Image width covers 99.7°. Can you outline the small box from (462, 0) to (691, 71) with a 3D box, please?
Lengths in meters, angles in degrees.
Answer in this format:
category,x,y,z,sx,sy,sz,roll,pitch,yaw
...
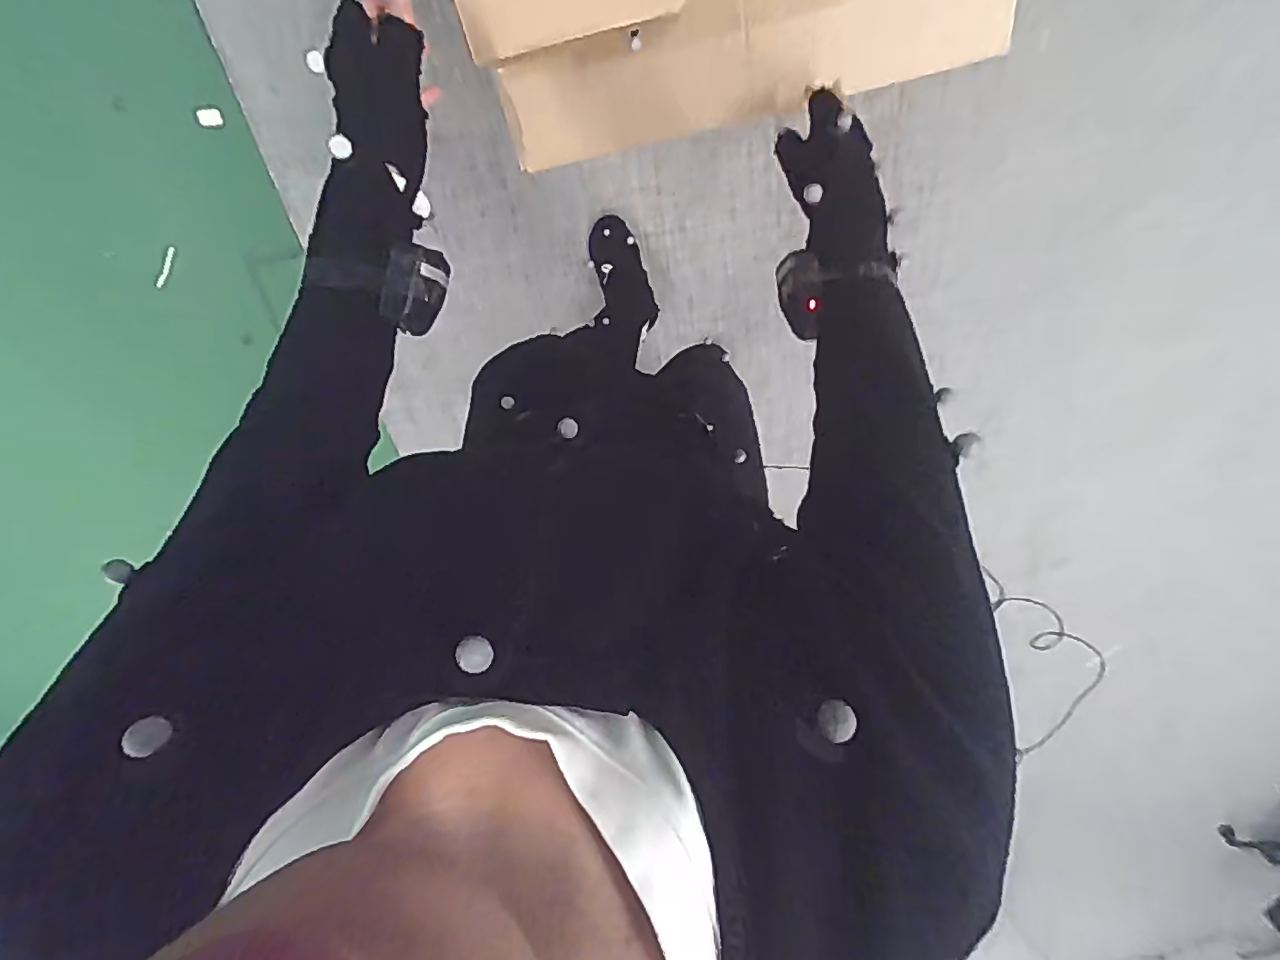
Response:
category,x,y,z,sx,sy,sz,roll,pitch,yaw
small box,-0.061,-0.461,0.448,0.179,0.176,0.168,-10,125,8
